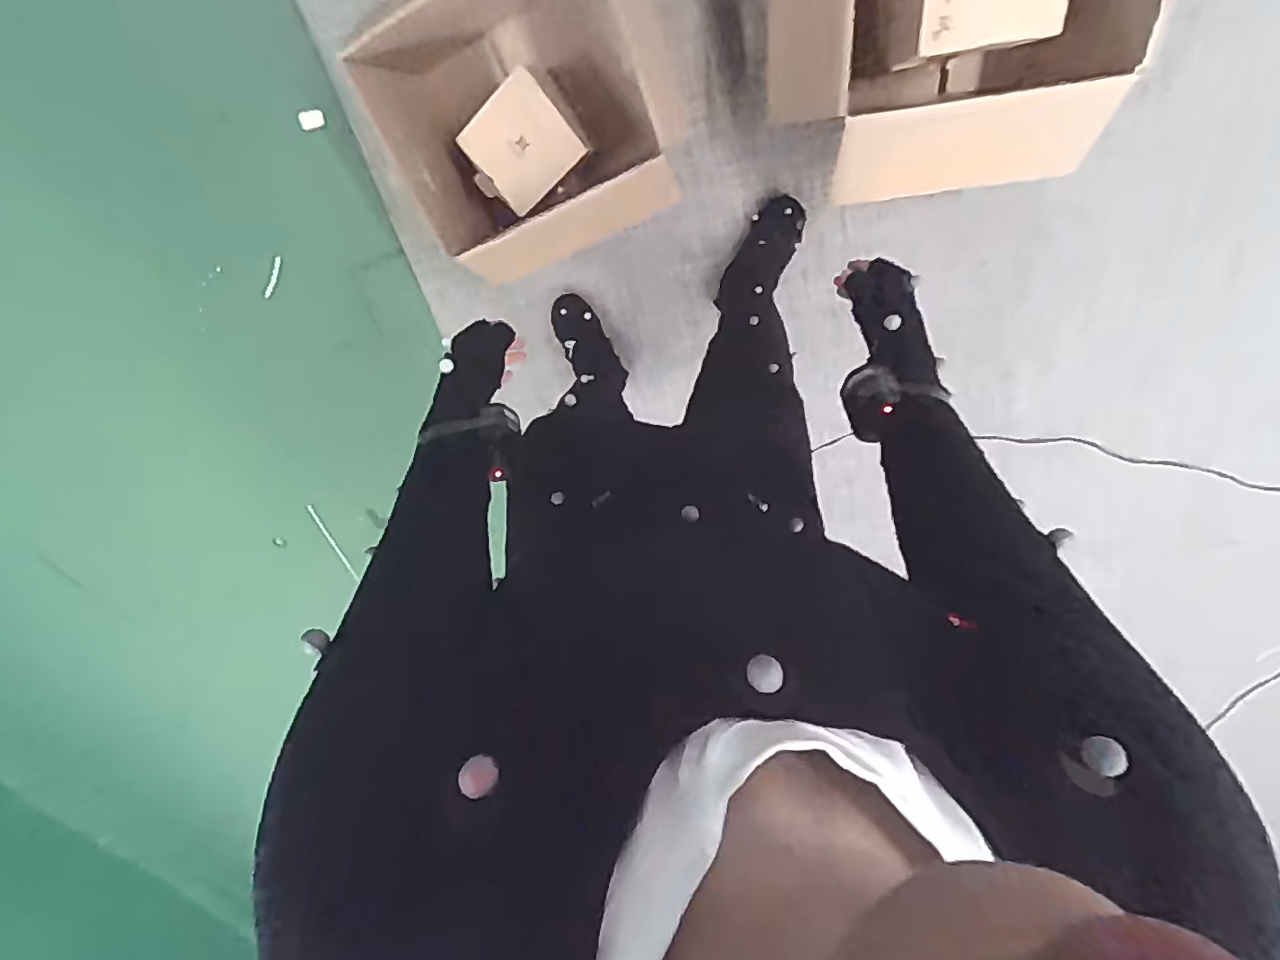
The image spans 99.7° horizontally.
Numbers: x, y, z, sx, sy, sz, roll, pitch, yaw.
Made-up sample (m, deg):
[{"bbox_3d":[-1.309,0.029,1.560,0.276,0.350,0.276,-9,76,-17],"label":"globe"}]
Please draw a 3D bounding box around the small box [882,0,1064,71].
[{"bbox_3d":[0.456,-0.685,0.744,0.179,0.176,0.168,-4,121,8],"label":"small box"}]
